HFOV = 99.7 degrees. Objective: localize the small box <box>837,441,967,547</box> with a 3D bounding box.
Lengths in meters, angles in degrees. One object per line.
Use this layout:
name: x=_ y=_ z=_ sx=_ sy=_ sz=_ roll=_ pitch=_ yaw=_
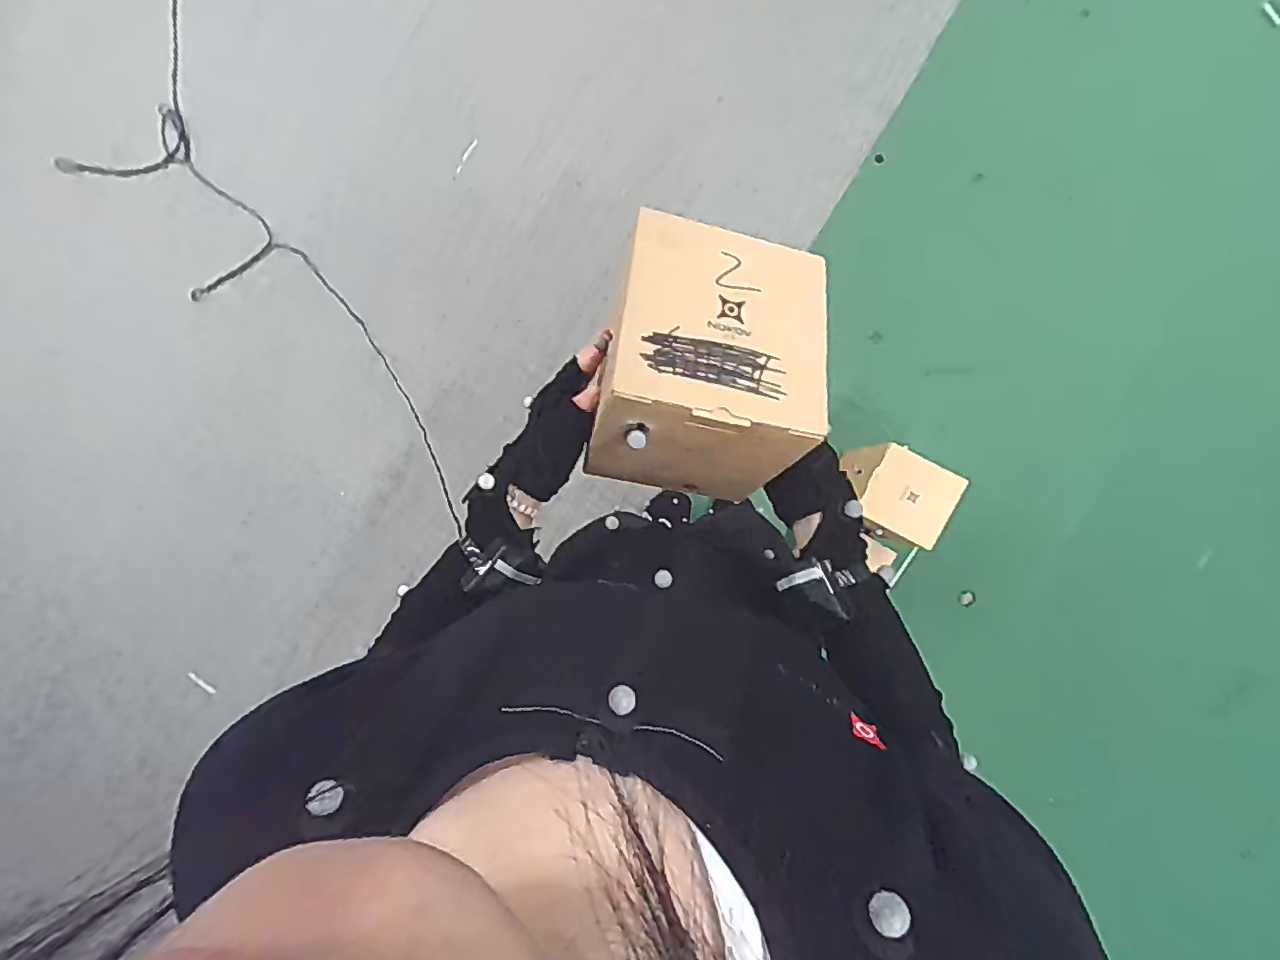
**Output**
small box: x=0.567 y=0.028 z=1.195 sx=0.179 sy=0.176 sz=0.168 roll=28 pitch=92 yaw=6
